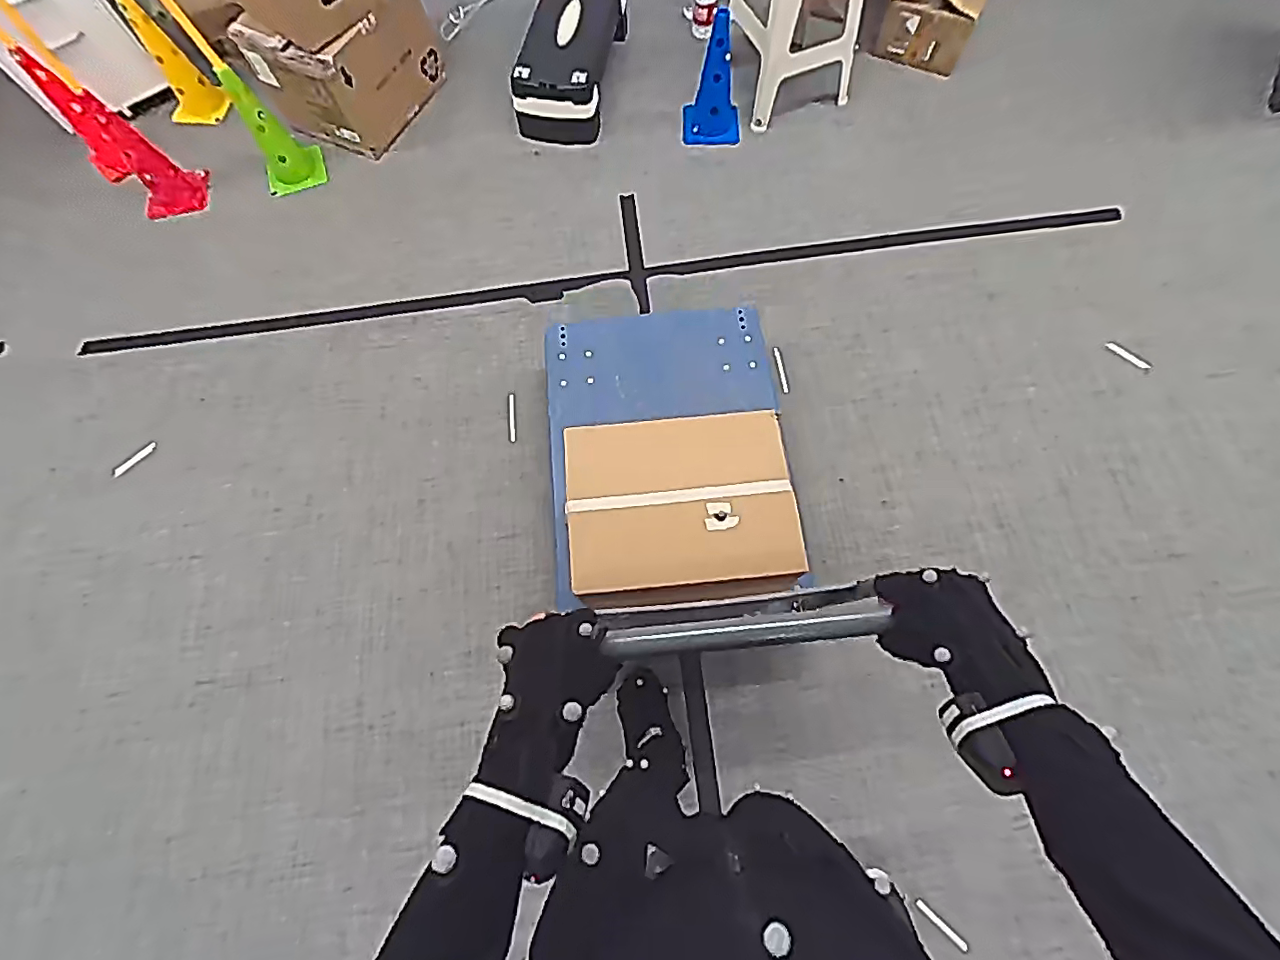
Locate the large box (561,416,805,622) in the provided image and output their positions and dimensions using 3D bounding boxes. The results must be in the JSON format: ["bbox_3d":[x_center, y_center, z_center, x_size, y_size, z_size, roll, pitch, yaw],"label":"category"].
[{"bbox_3d":[0.067,0.095,1.096,0.408,0.320,0.320,-6,70,-2],"label":"large box"}]
